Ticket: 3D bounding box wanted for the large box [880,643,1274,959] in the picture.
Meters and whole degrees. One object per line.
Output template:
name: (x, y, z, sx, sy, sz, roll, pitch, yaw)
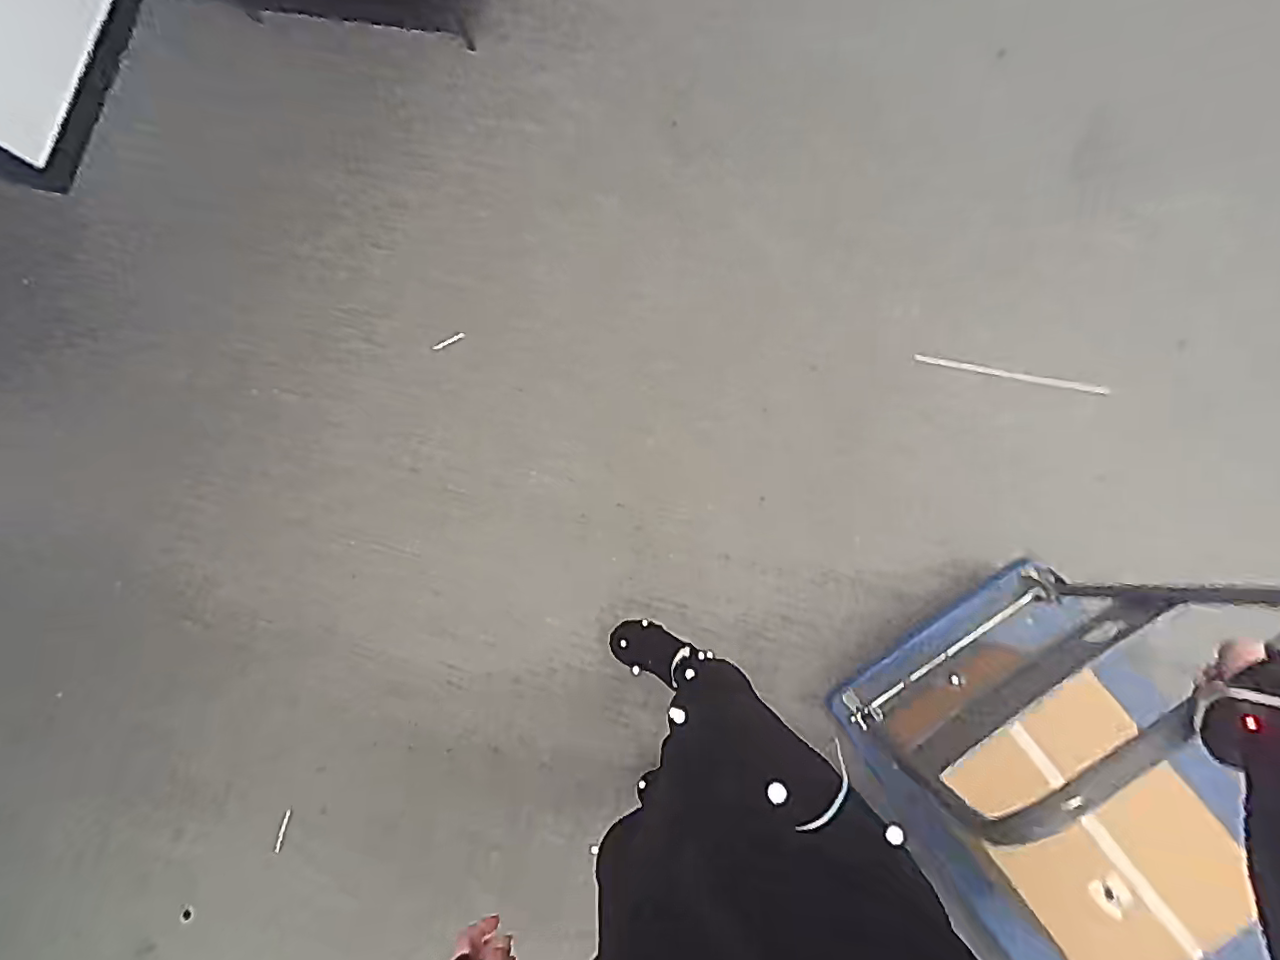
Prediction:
large box: (0.736, 0.572, 0.996, 0.320, 0.320, 0.408, -36, 80, 0)
